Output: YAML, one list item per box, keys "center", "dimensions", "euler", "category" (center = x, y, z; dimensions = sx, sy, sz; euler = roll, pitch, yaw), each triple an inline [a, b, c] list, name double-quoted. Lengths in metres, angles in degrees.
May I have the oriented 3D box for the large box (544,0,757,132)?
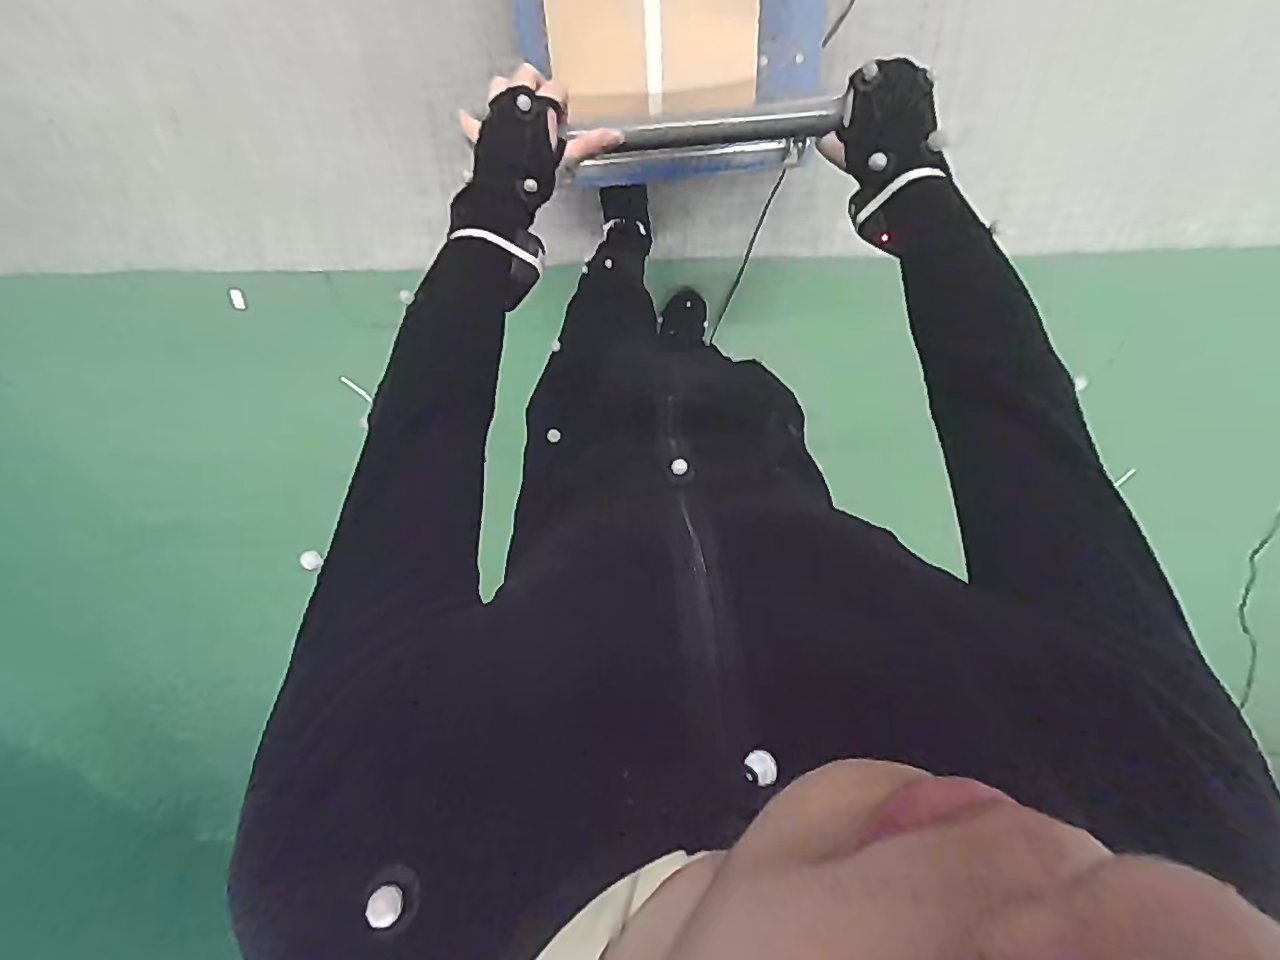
- center: [0.016, -0.826, 0.881]
  dimensions: [0.320, 0.320, 0.408]
  euler: [-3, 120, 3]
  category: "large box"
